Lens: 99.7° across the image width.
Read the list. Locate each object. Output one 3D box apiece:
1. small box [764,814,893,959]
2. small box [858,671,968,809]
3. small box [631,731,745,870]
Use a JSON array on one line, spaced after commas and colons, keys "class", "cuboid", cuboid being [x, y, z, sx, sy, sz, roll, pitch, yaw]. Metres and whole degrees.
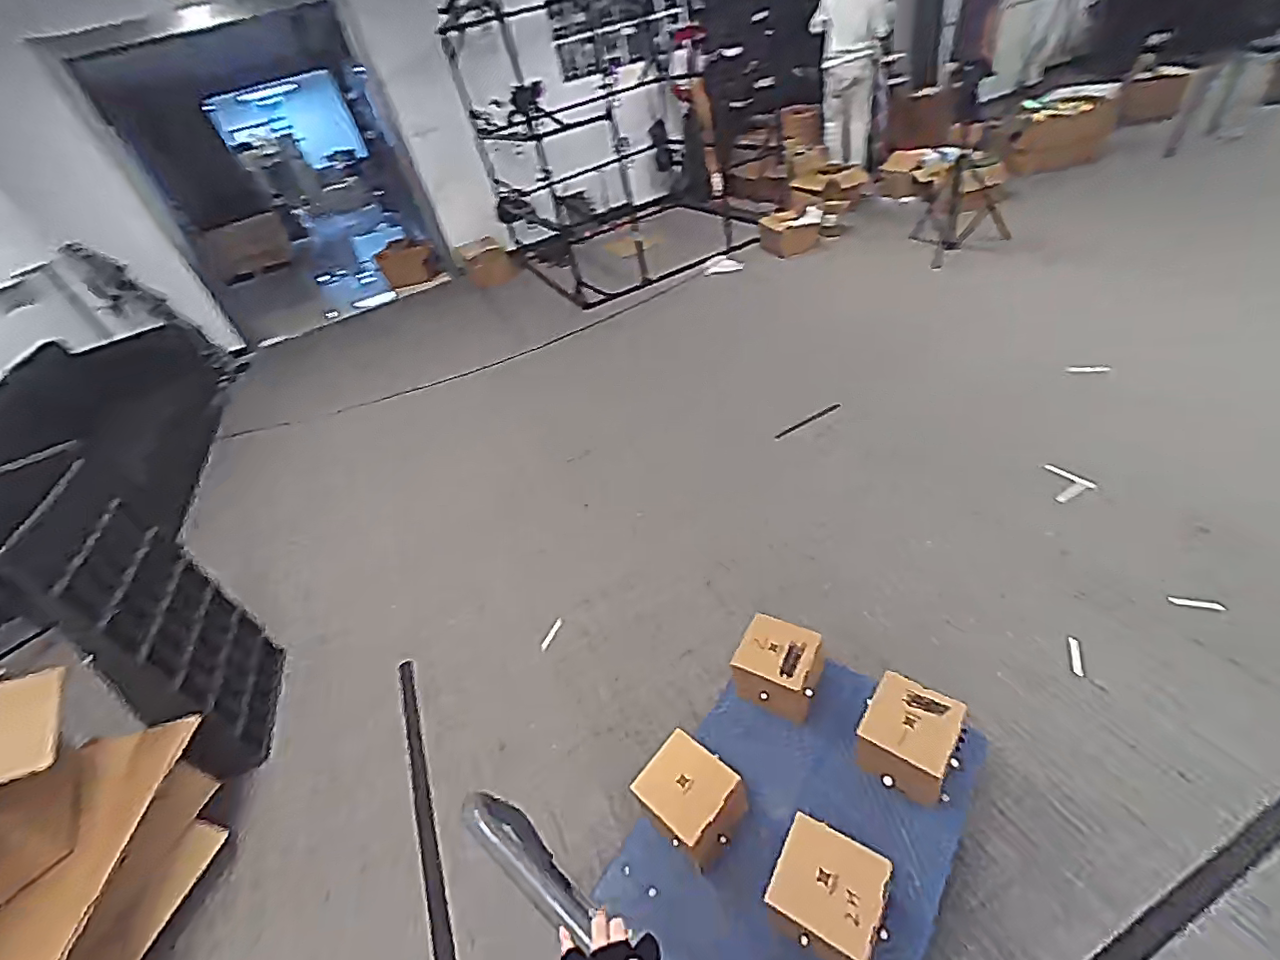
[{"class": "small box", "cuboid": [0.349, 0.770, 0.997, 0.179, 0.176, 0.168, 14, 46, 34]}, {"class": "small box", "cuboid": [0.584, 0.562, 1.173, 0.168, 0.176, 0.179, 19, 51, 37]}, {"class": "small box", "cuboid": [0.110, 0.698, 1.178, 0.179, 0.176, 0.168, 24, 52, 38]}]
